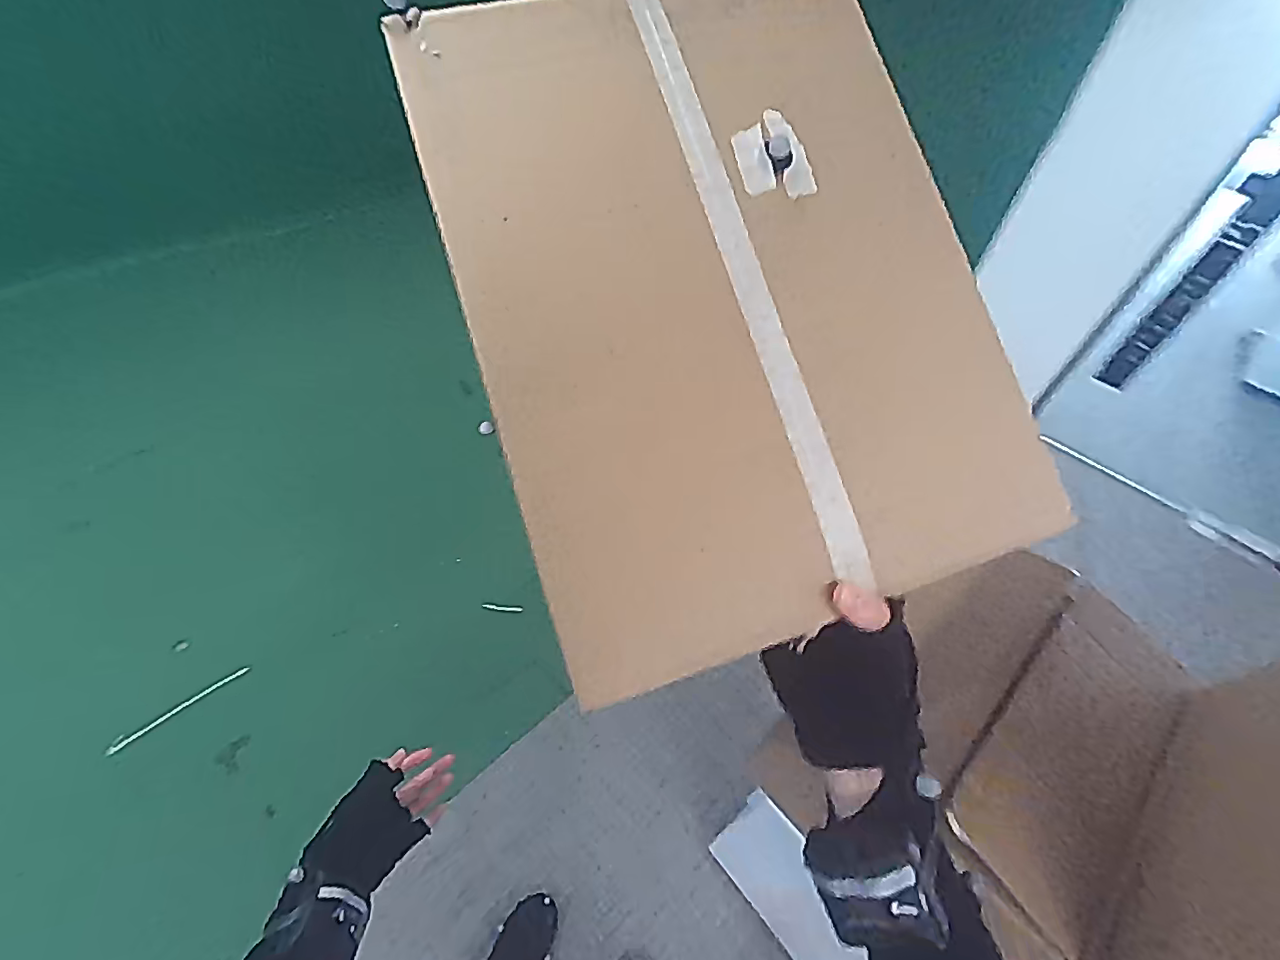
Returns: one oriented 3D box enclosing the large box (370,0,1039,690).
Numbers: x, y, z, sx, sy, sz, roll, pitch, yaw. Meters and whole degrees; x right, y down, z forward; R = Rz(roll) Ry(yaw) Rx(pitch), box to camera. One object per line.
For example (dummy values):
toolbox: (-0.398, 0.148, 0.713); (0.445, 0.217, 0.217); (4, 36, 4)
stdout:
large box: (0.021, -0.090, 0.474); (0.320, 0.320, 0.408); (-17, 82, -13)
